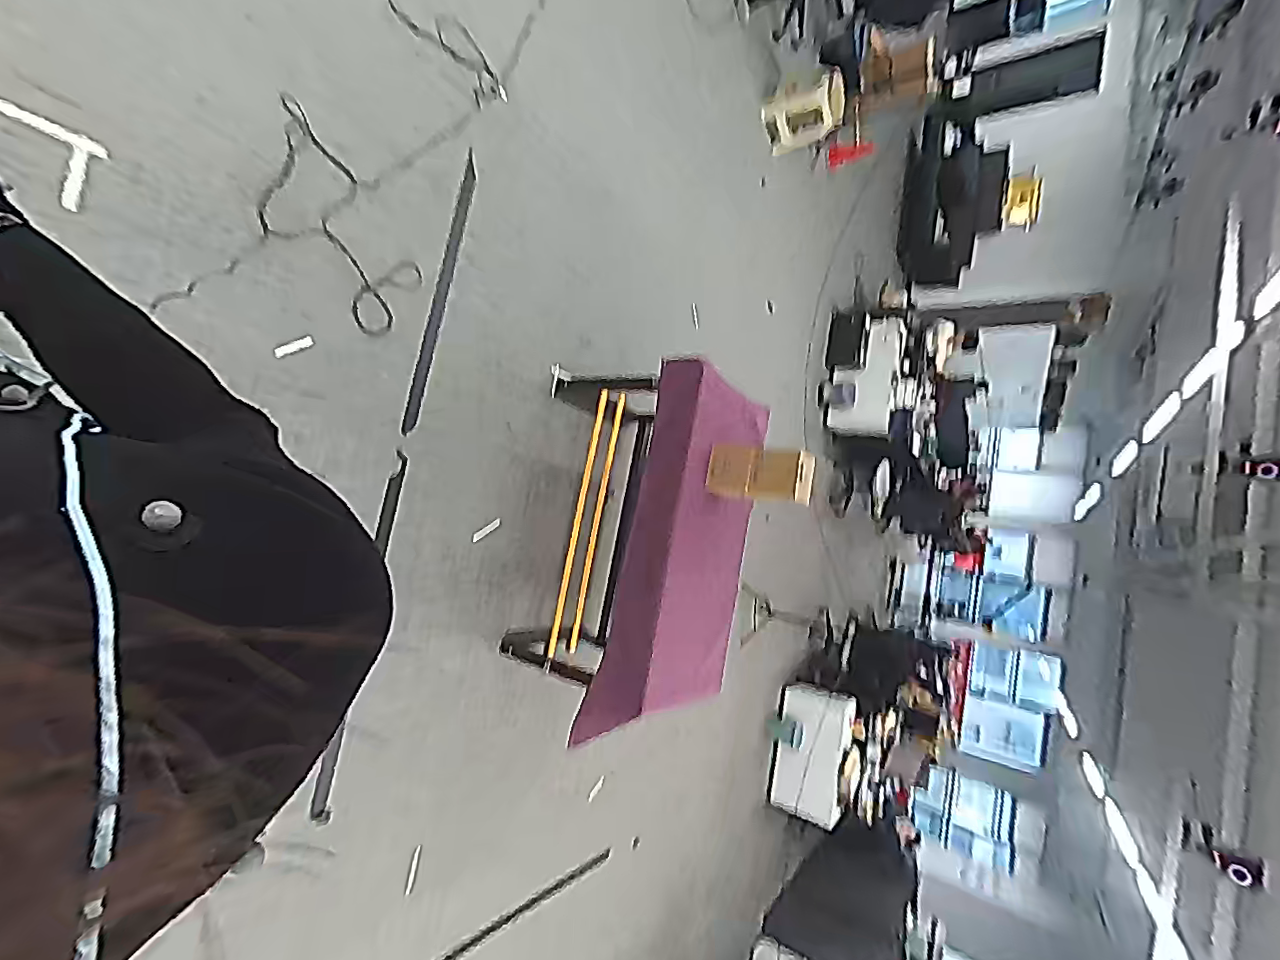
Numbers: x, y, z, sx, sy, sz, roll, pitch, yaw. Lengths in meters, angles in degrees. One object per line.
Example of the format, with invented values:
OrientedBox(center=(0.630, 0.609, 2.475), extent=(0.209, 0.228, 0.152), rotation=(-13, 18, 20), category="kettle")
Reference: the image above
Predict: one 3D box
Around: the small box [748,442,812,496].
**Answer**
OrientedBox(center=(0.499, -0.041, 1.932), extent=(0.179, 0.176, 0.168), rotation=(14, 84, -55), category="small box")

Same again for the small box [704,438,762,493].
OrientedBox(center=(0.358, -0.055, 2.016), extent=(0.179, 0.176, 0.168), rotation=(22, 78, -54), category="small box")
